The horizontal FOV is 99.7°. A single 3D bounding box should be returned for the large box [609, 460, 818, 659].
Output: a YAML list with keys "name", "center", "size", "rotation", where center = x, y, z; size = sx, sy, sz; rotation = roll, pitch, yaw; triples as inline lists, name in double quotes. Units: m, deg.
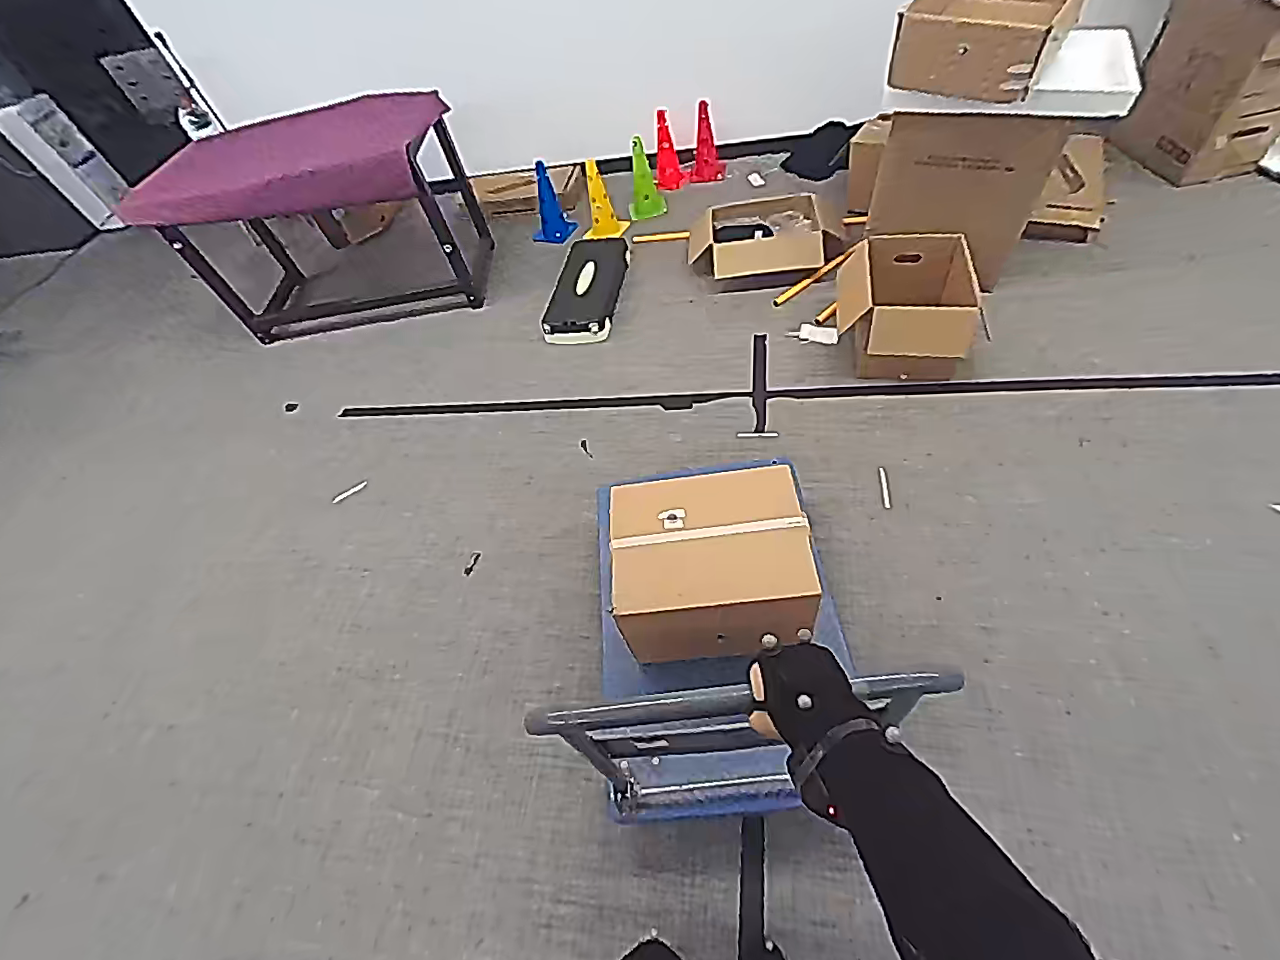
- name: "large box"
  center: [0.160, 0.193, 1.238]
  size: [0.408, 0.320, 0.320]
  rotation: [-9, 52, 7]
